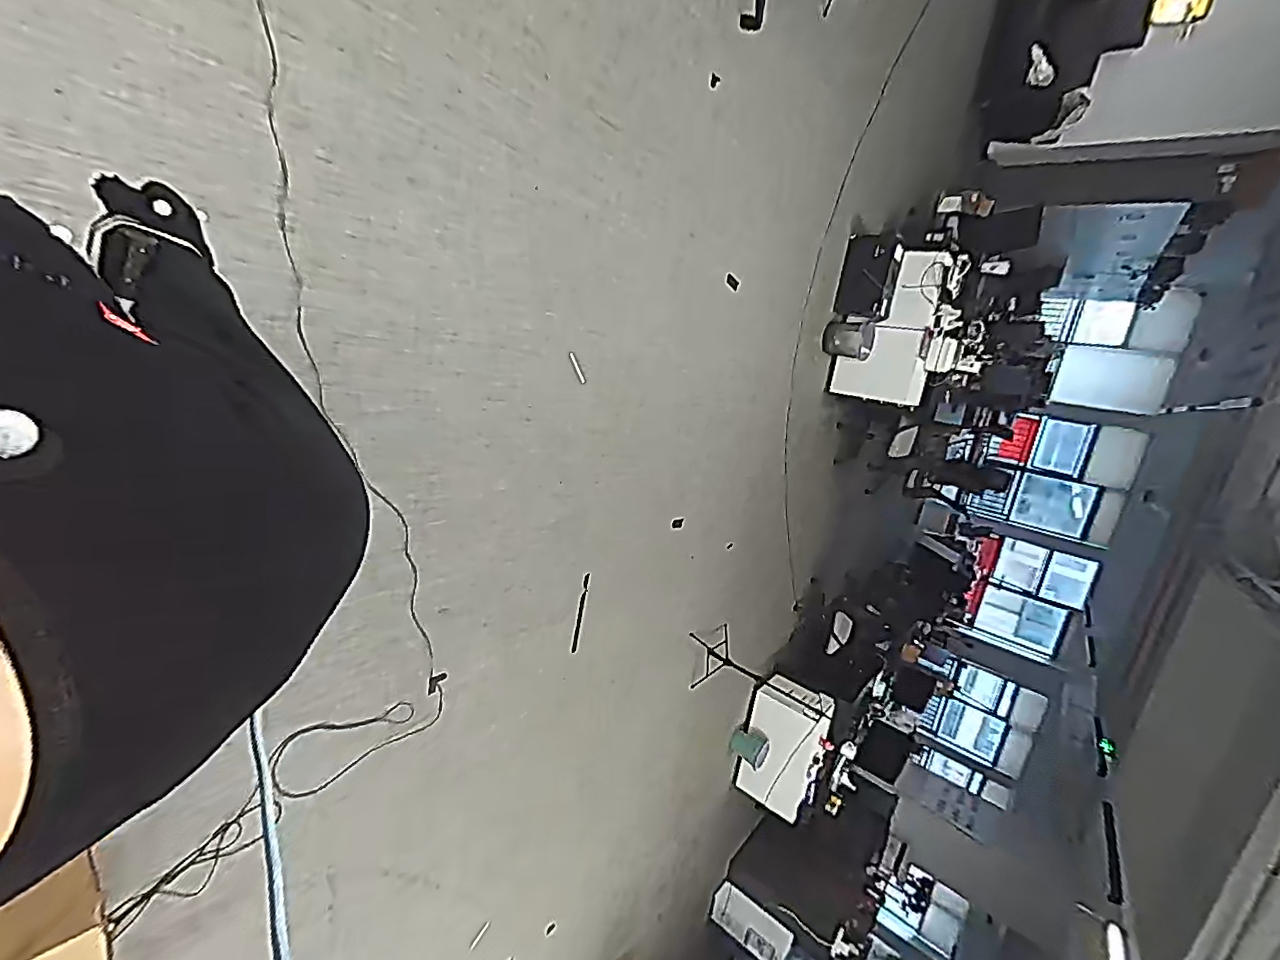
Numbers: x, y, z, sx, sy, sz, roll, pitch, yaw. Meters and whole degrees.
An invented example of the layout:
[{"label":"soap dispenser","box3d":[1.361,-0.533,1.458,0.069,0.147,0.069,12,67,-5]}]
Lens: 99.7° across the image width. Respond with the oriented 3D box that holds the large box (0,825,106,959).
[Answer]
[{"label":"large box","box3d":[-1.330,0.984,1.034,0.408,0.320,0.320,-7,110,-52]}]
